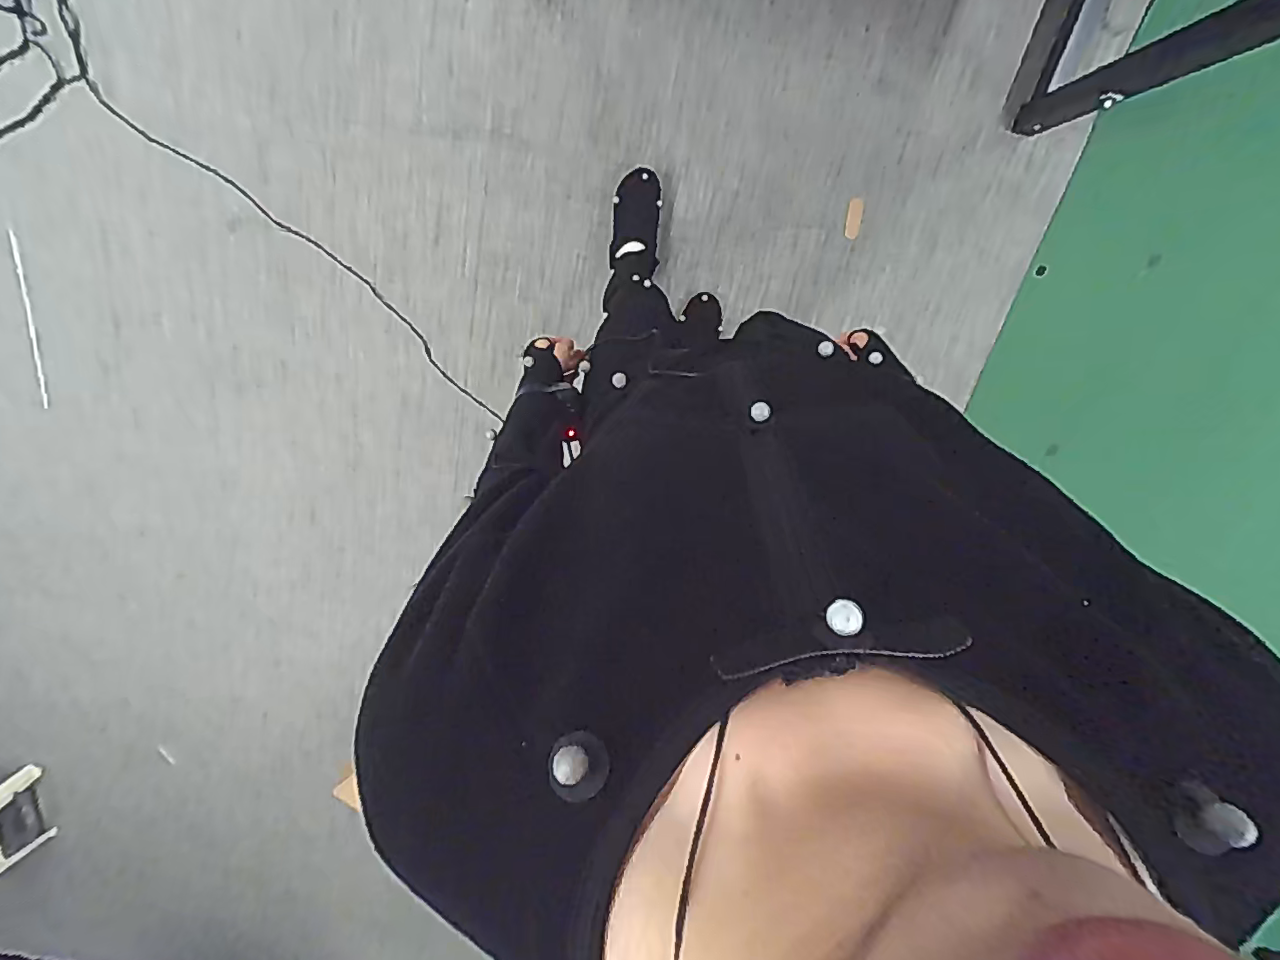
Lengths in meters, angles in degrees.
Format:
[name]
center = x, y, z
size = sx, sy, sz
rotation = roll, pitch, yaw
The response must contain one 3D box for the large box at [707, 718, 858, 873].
[large box]
center = 0.428, 0.994, 1.726
size = 0.408, 0.320, 0.320
rotation = -1, 110, 1
